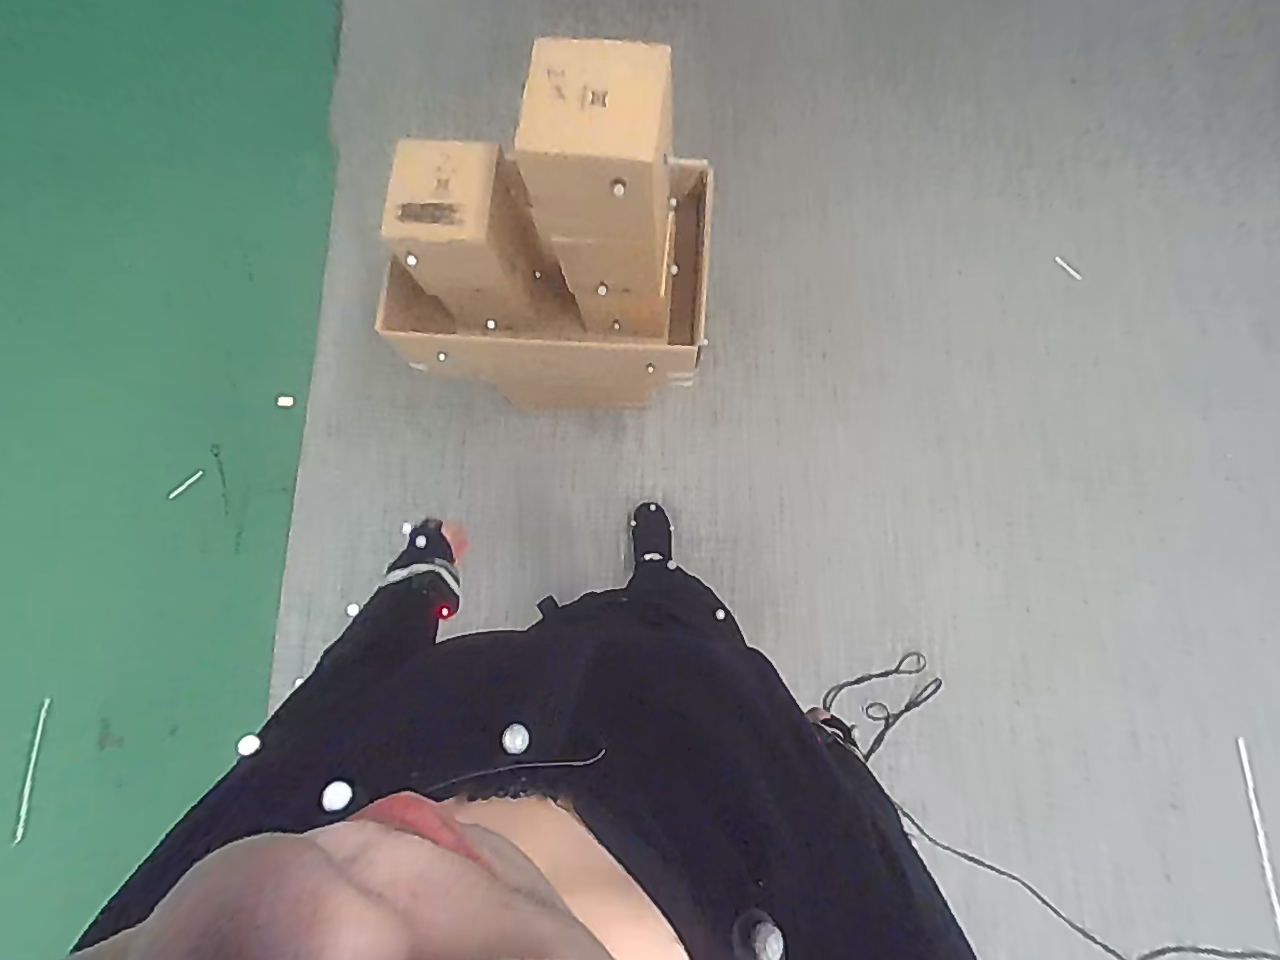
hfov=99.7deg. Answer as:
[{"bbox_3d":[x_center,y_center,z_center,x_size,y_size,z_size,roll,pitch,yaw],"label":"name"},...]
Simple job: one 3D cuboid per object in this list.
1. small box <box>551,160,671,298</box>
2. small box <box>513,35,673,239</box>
[{"bbox_3d":[-0.040,-0.430,0.900,0.168,0.176,0.179,6,81,5],"label":"small box"},{"bbox_3d":[-0.052,-0.454,0.737,0.179,0.176,0.168,8,80,7],"label":"small box"}]
